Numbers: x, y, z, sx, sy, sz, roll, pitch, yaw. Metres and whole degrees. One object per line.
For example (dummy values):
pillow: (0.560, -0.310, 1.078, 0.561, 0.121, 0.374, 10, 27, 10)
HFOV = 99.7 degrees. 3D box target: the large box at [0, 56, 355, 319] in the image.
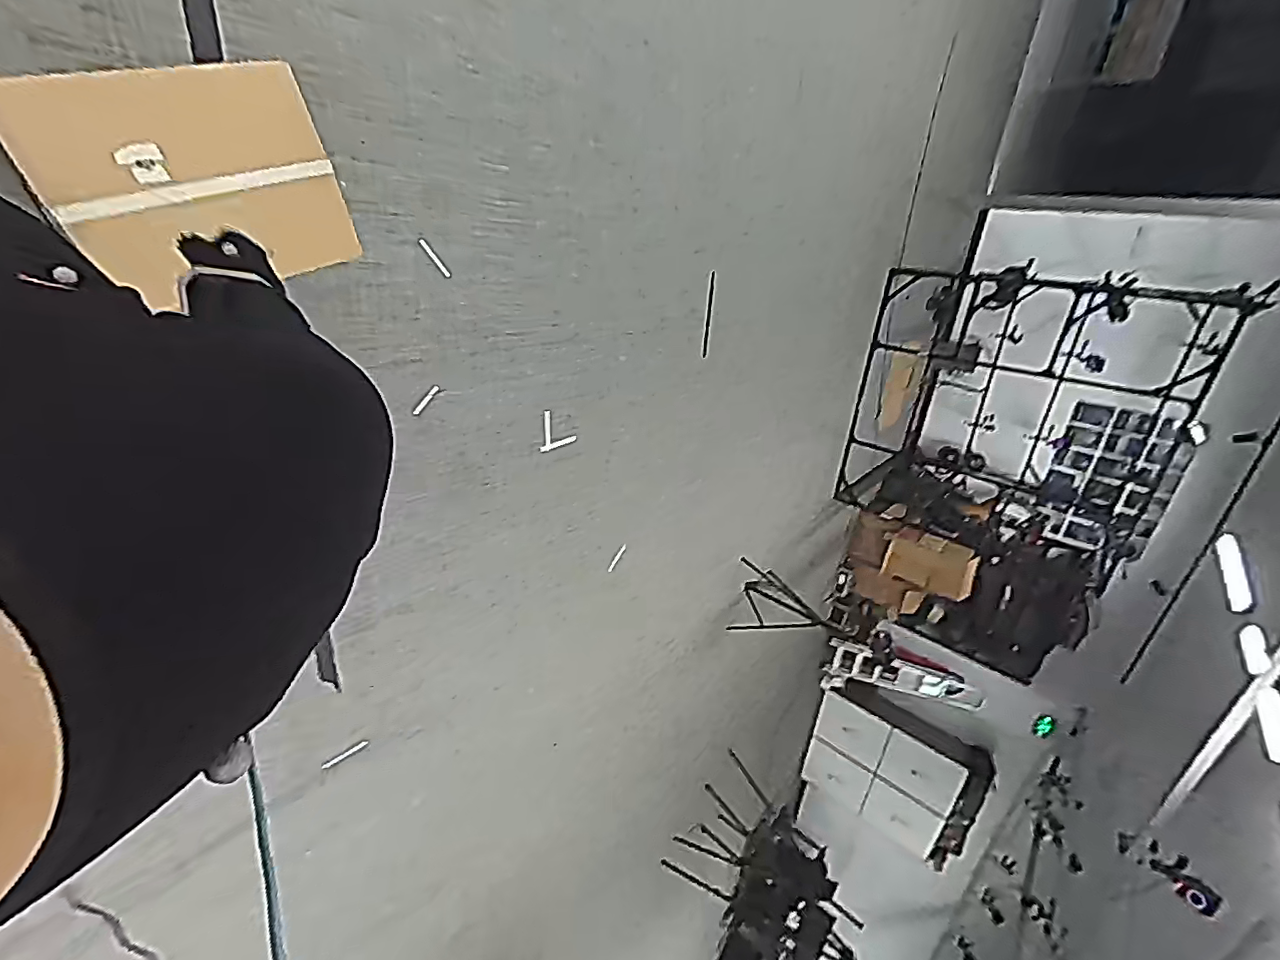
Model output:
large box: (-0.820, -0.528, 0.960, 0.408, 0.320, 0.320, -38, 136, -34)
